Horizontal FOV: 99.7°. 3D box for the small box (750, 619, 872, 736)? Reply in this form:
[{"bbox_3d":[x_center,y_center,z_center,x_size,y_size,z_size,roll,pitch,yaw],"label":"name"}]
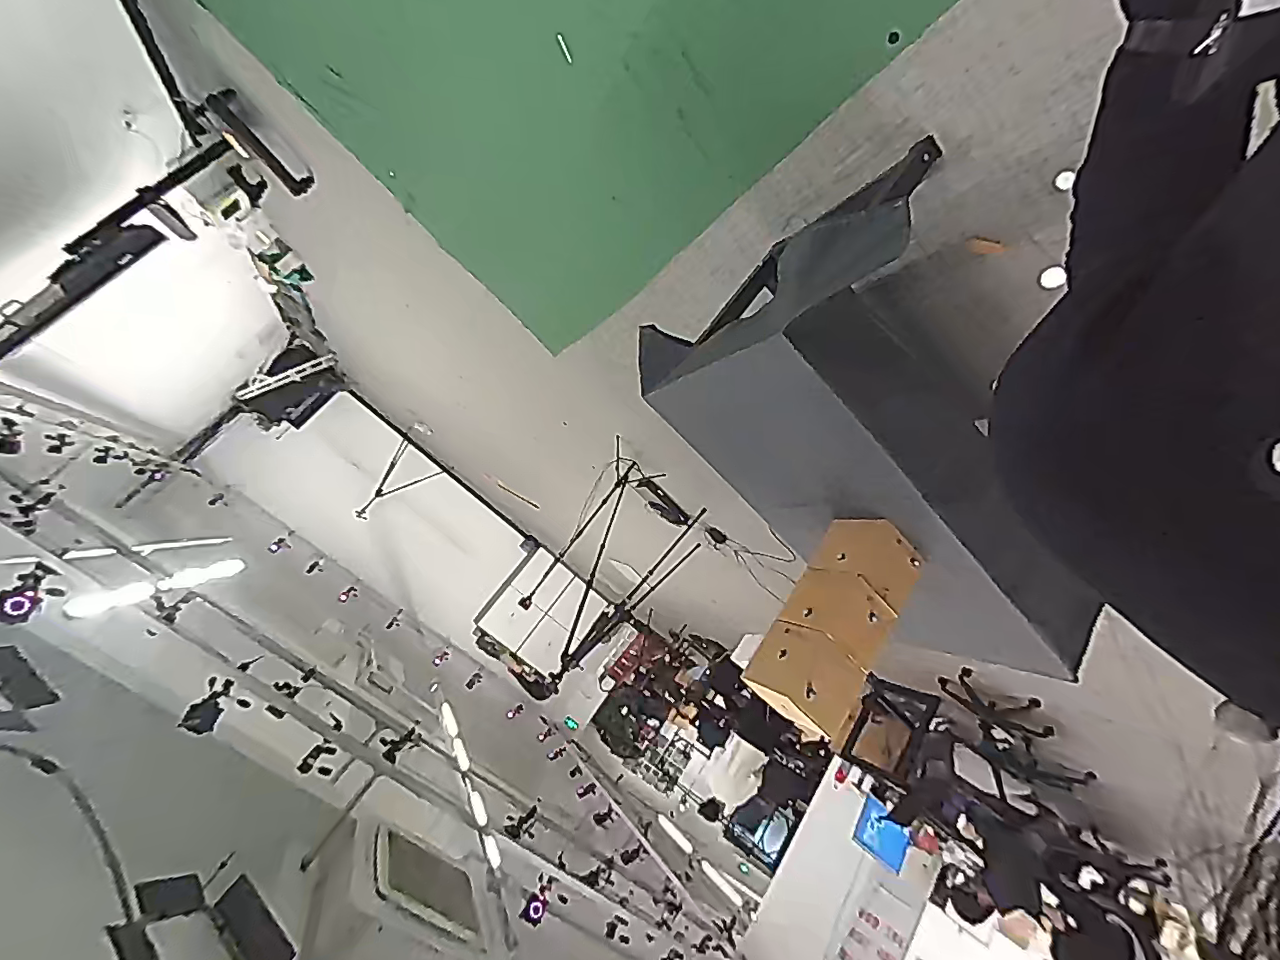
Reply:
[{"bbox_3d":[0.398,0.449,1.258,0.179,0.176,0.168,44,160,-17],"label":"small box"}]

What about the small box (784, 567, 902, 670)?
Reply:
[{"bbox_3d":[0.494,0.327,1.316,0.168,0.176,0.179,44,160,-16],"label":"small box"}]

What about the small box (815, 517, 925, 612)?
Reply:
[{"bbox_3d":[0.588,0.207,1.370,0.168,0.176,0.179,43,161,-16],"label":"small box"}]
